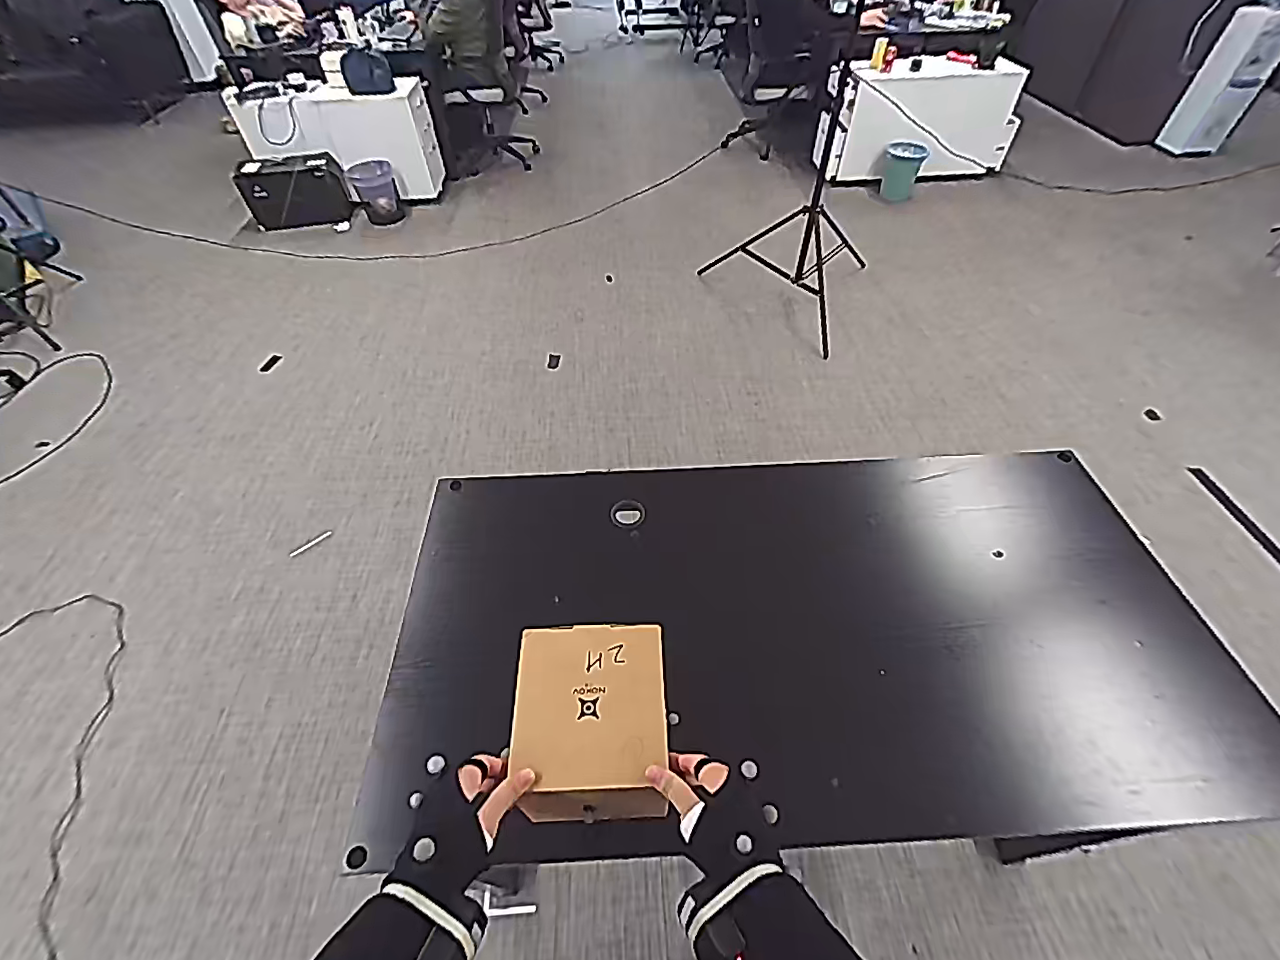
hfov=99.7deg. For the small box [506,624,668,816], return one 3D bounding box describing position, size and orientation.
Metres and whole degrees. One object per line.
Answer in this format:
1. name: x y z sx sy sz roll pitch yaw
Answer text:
1. small box: -0.053 0.294 0.652 0.168 0.176 0.179 -3 49 -1
